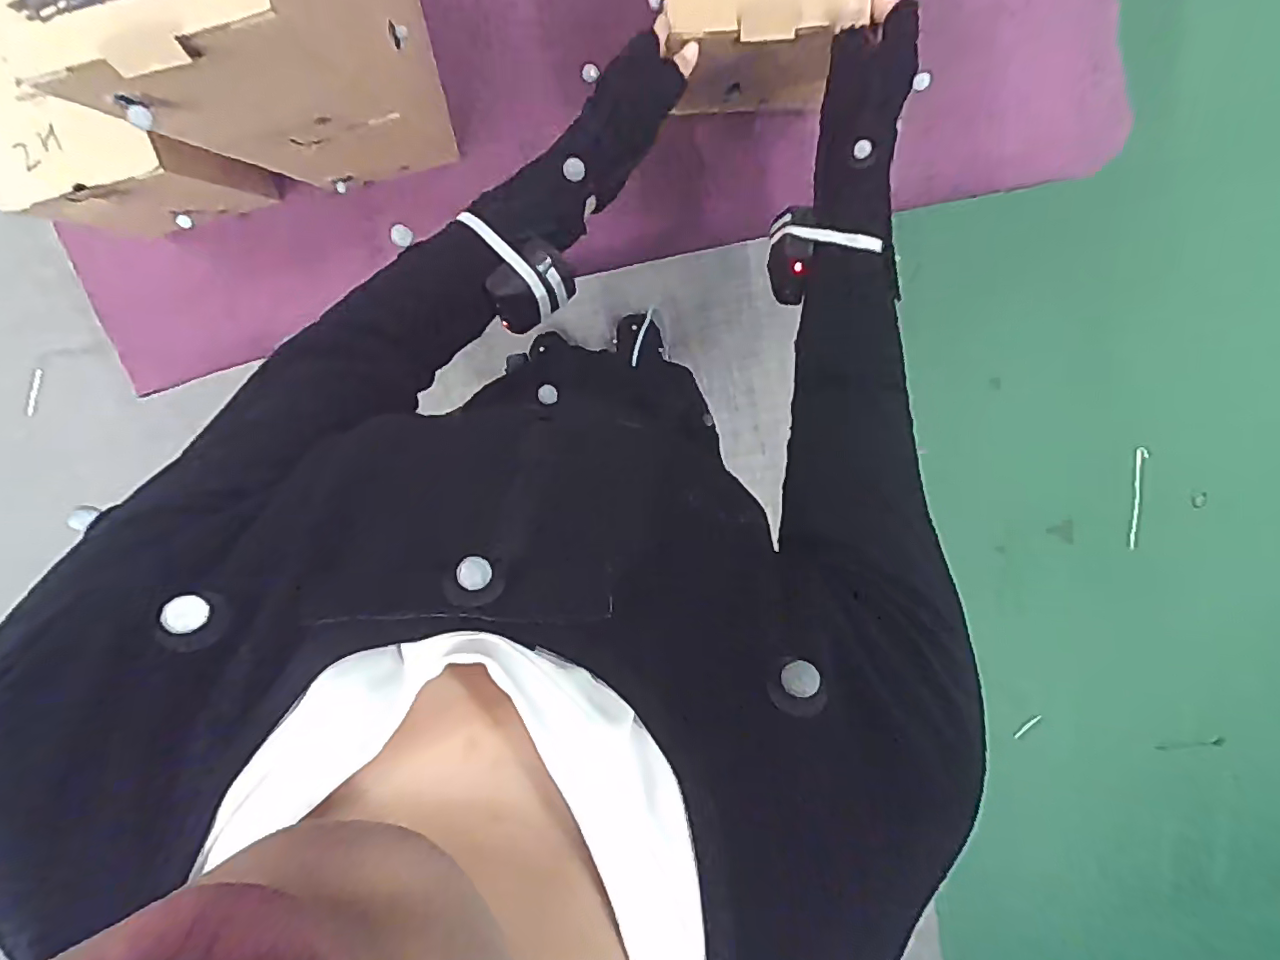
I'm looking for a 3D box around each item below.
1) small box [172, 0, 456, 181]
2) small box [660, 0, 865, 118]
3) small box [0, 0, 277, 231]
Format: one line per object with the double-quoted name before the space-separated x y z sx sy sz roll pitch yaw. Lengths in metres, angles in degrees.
"small box" -0.301 -0.409 0.527 0.168 0.176 0.179 -10 107 3
"small box" 0.103 -0.468 0.501 0.168 0.176 0.179 0 105 2
"small box" -0.517 -0.367 0.540 0.168 0.176 0.179 -11 108 4
